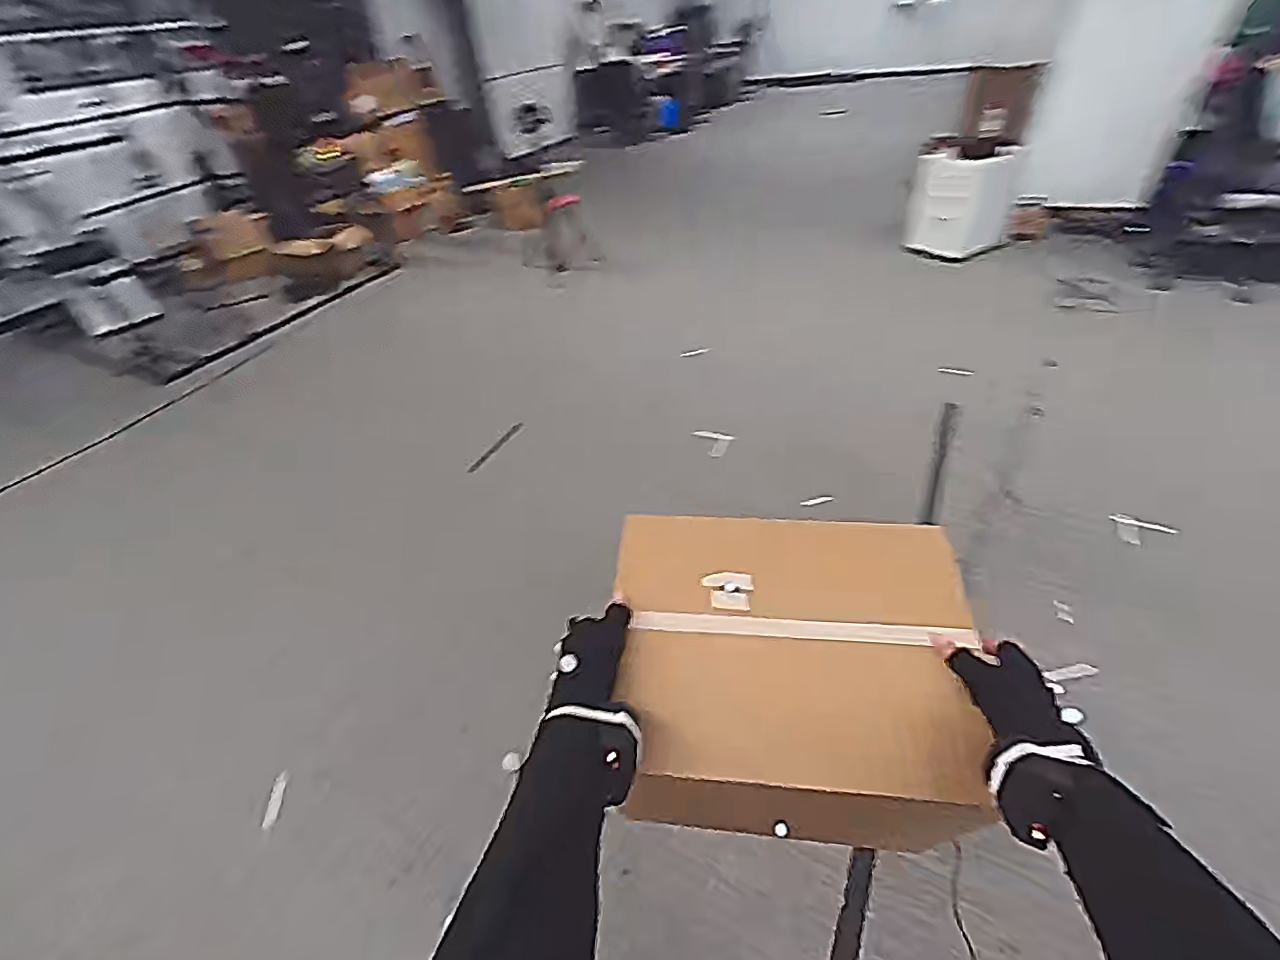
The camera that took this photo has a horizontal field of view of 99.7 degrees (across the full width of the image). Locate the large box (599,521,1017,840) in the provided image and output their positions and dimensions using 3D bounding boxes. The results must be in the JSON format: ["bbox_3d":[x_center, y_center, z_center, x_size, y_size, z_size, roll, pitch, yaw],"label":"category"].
[{"bbox_3d":[0.184,0.271,0.731,0.408,0.320,0.320,2,49,8],"label":"large box"}]
